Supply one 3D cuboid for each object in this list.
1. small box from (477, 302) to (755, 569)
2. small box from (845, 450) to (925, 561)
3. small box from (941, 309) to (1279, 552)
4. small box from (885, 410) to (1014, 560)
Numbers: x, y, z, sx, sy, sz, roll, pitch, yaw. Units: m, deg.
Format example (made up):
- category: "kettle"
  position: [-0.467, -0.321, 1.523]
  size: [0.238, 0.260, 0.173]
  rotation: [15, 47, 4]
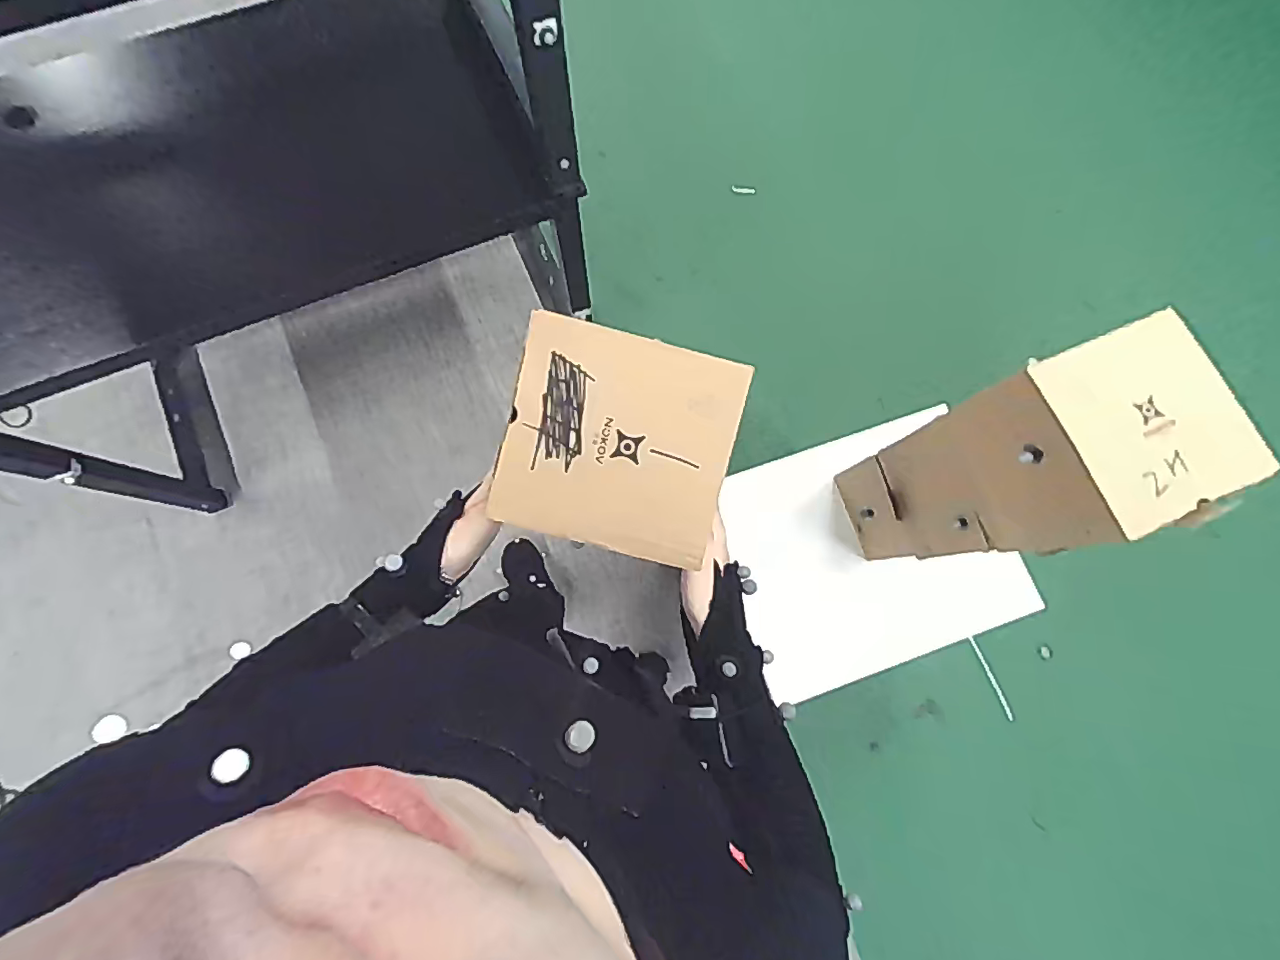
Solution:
- category: "small box"
  position: [-0.019, -0.036, 0.480]
  size: [0.179, 0.176, 0.168]
  rotation: [14, 94, -2]
- category: "small box"
  position: [0.457, 0.028, 0.879]
  size: [0.179, 0.176, 0.168]
  rotation: [-18, 80, -5]
- category: "small box"
  position: [0.458, -0.037, 0.559]
  size: [0.168, 0.176, 0.179]
  rotation: [-23, 80, -5]
- category: "small box"
  position: [0.460, -0.001, 0.719]
  size: [0.168, 0.176, 0.179]
  rotation: [-15, 80, -5]
